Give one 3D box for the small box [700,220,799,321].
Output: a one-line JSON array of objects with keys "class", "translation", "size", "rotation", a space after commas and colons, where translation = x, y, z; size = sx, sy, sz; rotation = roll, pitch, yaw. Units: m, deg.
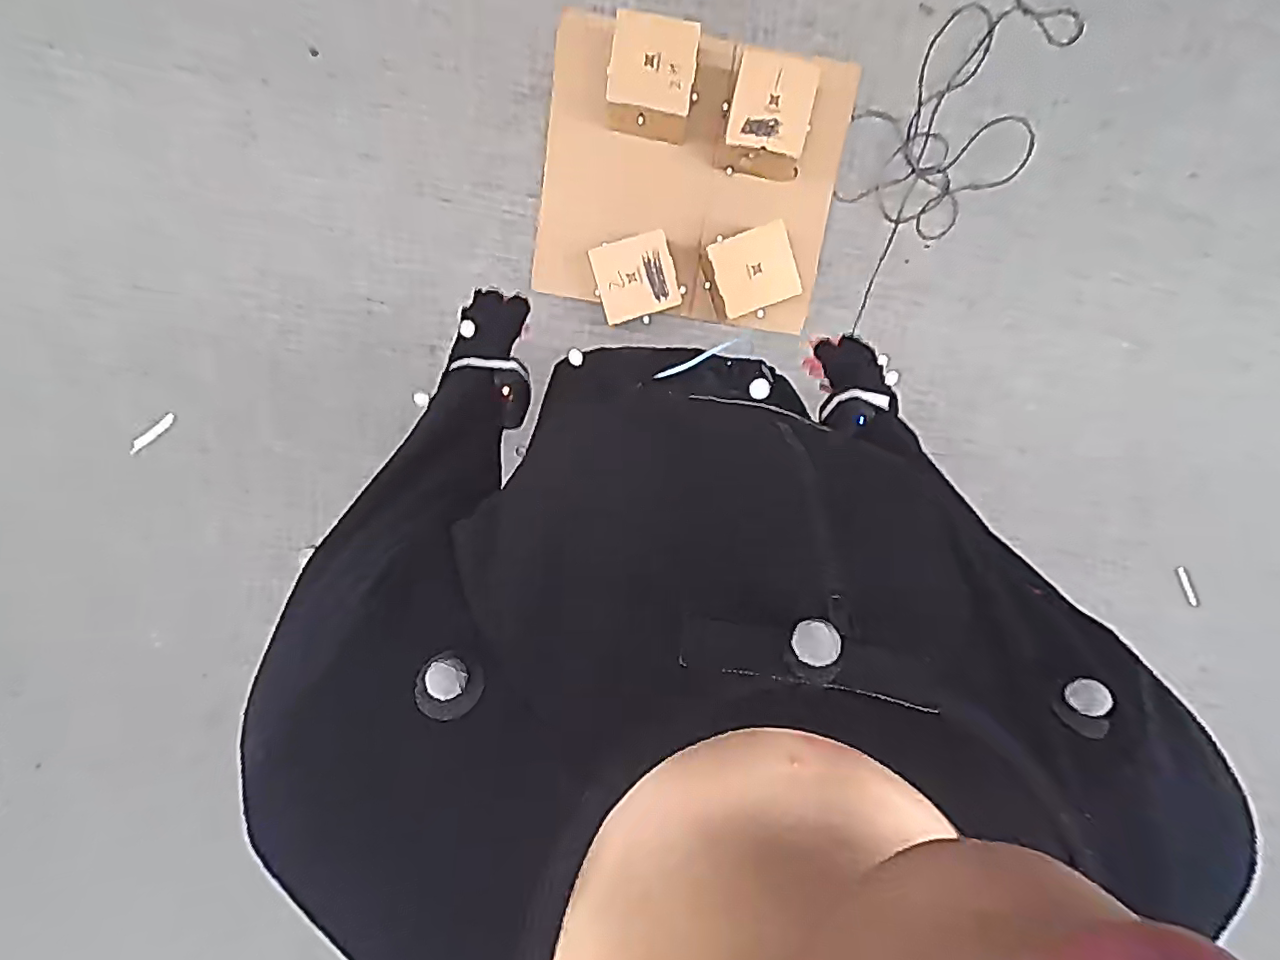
[{"class": "small box", "translation": [0.252, -0.487, 1.278], "size": [0.179, 0.176, 0.168], "rotation": [-19, 102, 6]}]
